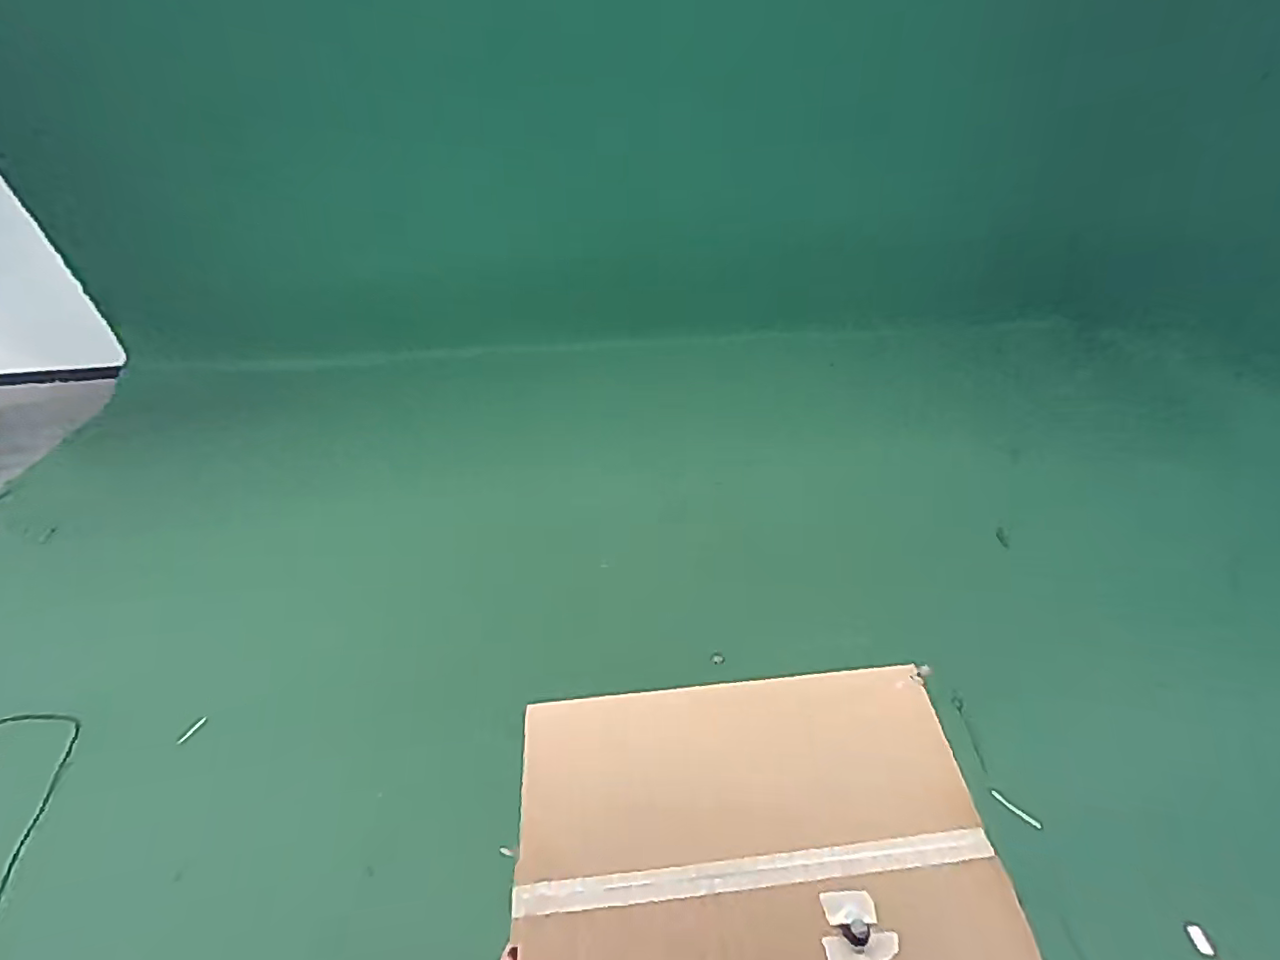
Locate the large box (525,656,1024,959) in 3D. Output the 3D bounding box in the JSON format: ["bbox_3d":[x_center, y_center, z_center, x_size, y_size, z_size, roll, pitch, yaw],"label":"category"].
[{"bbox_3d":[0.100,0.421,0.591,0.408,0.320,0.320,-5,52,-3],"label":"large box"}]
